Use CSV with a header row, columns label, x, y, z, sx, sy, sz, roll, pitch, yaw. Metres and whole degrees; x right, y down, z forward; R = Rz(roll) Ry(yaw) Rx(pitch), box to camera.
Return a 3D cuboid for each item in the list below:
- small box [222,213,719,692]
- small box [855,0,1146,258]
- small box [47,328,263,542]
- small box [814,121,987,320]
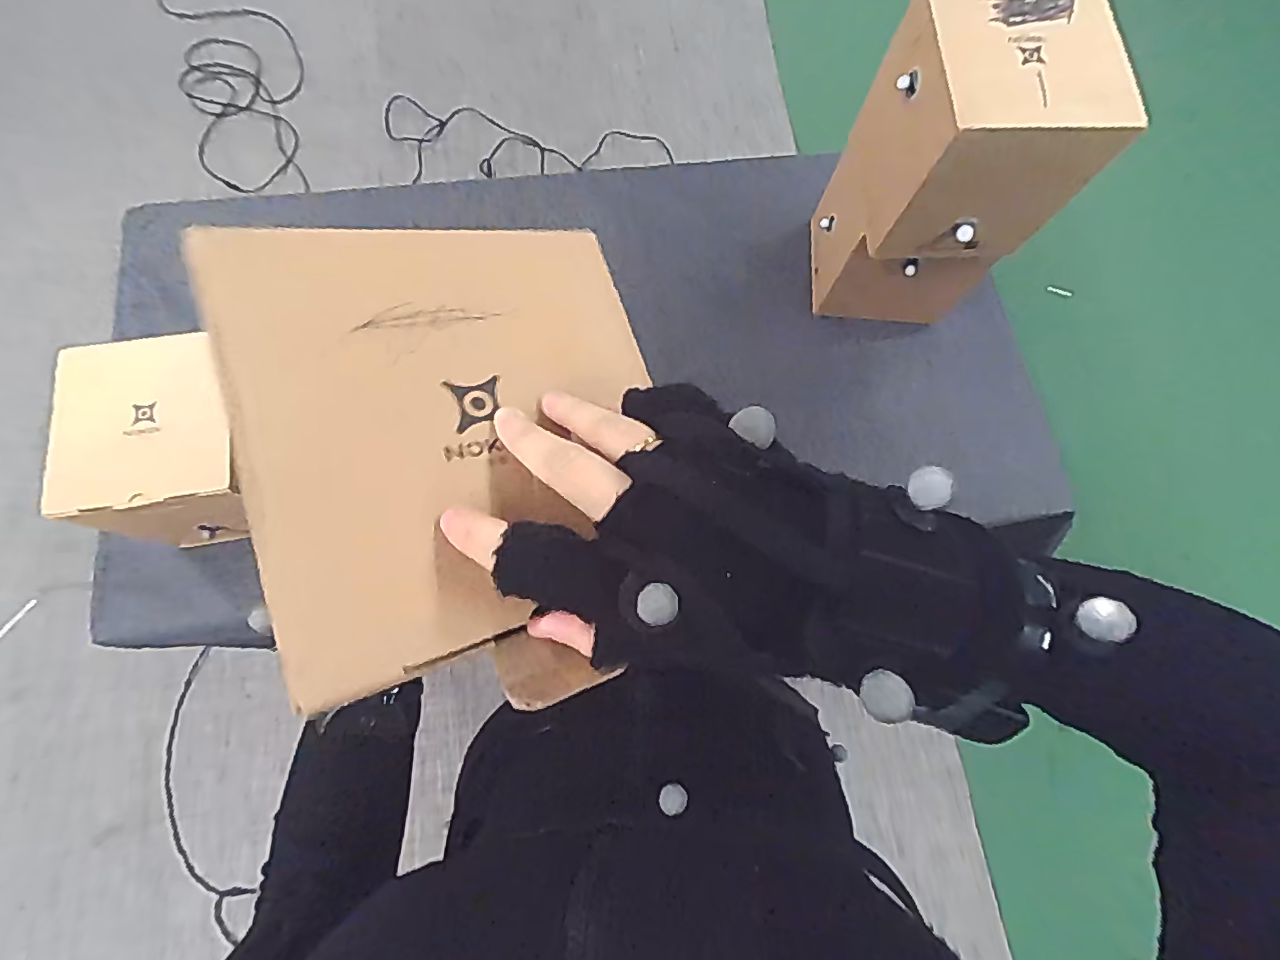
label,x,y,z,sx,sy,sz,roll,pitch,yaw
small box,-0.092,-0.002,0.285,0.168,0.176,0.179,-11,74,-31
small box,0.336,-0.354,0.546,0.168,0.176,0.179,-2,76,-2
small box,-0.477,-0.040,0.598,0.168,0.176,0.179,-9,75,-5
small box,0.338,-0.329,0.710,0.179,0.176,0.168,5,75,-1
